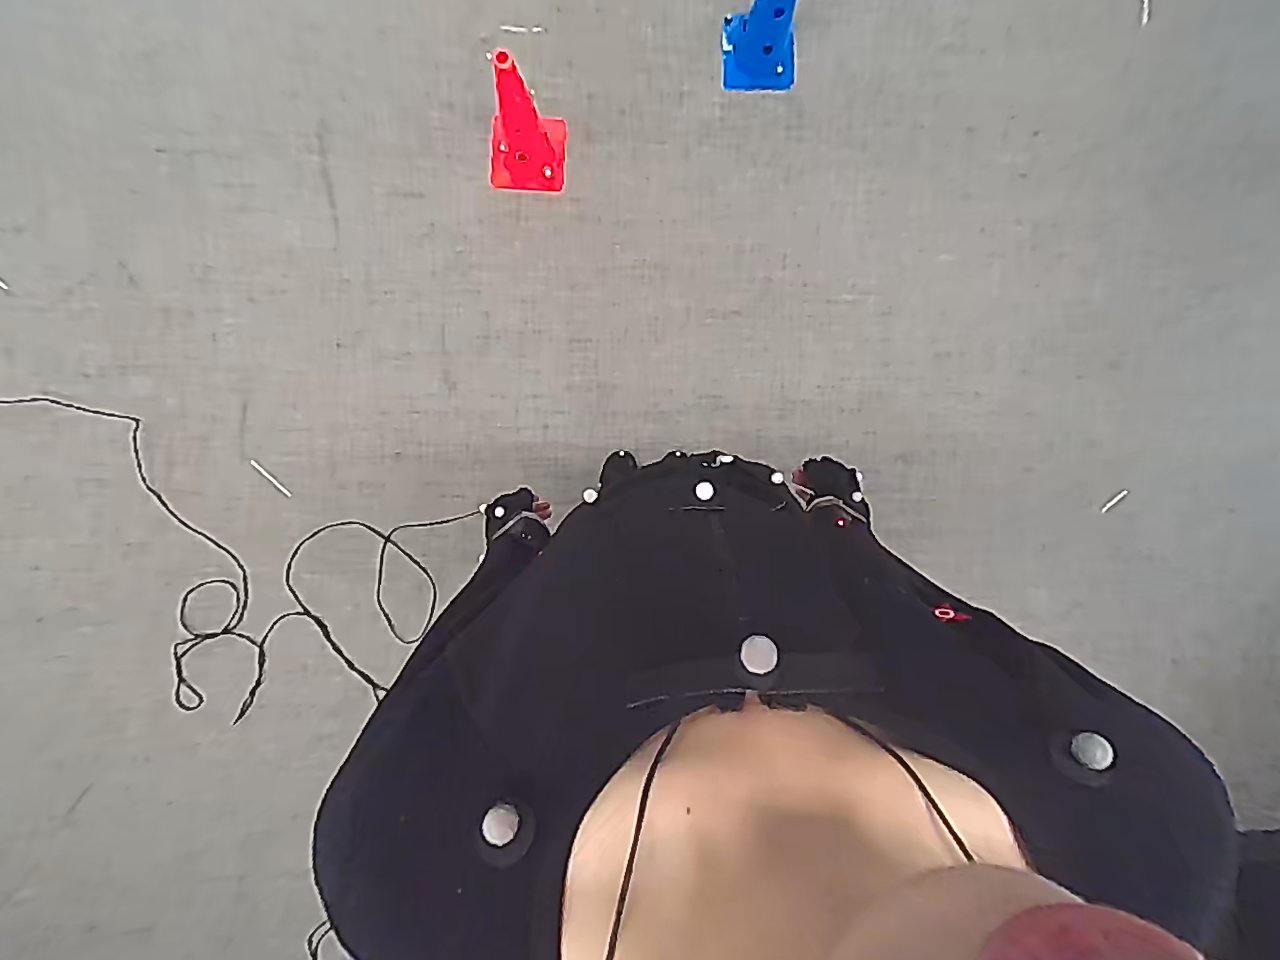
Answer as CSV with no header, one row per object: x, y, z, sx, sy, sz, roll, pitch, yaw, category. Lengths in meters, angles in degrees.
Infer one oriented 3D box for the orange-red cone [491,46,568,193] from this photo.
-0.289,-0.882,1.289,0.198,0.360,0.199,4,90,-3,orange-red cone
